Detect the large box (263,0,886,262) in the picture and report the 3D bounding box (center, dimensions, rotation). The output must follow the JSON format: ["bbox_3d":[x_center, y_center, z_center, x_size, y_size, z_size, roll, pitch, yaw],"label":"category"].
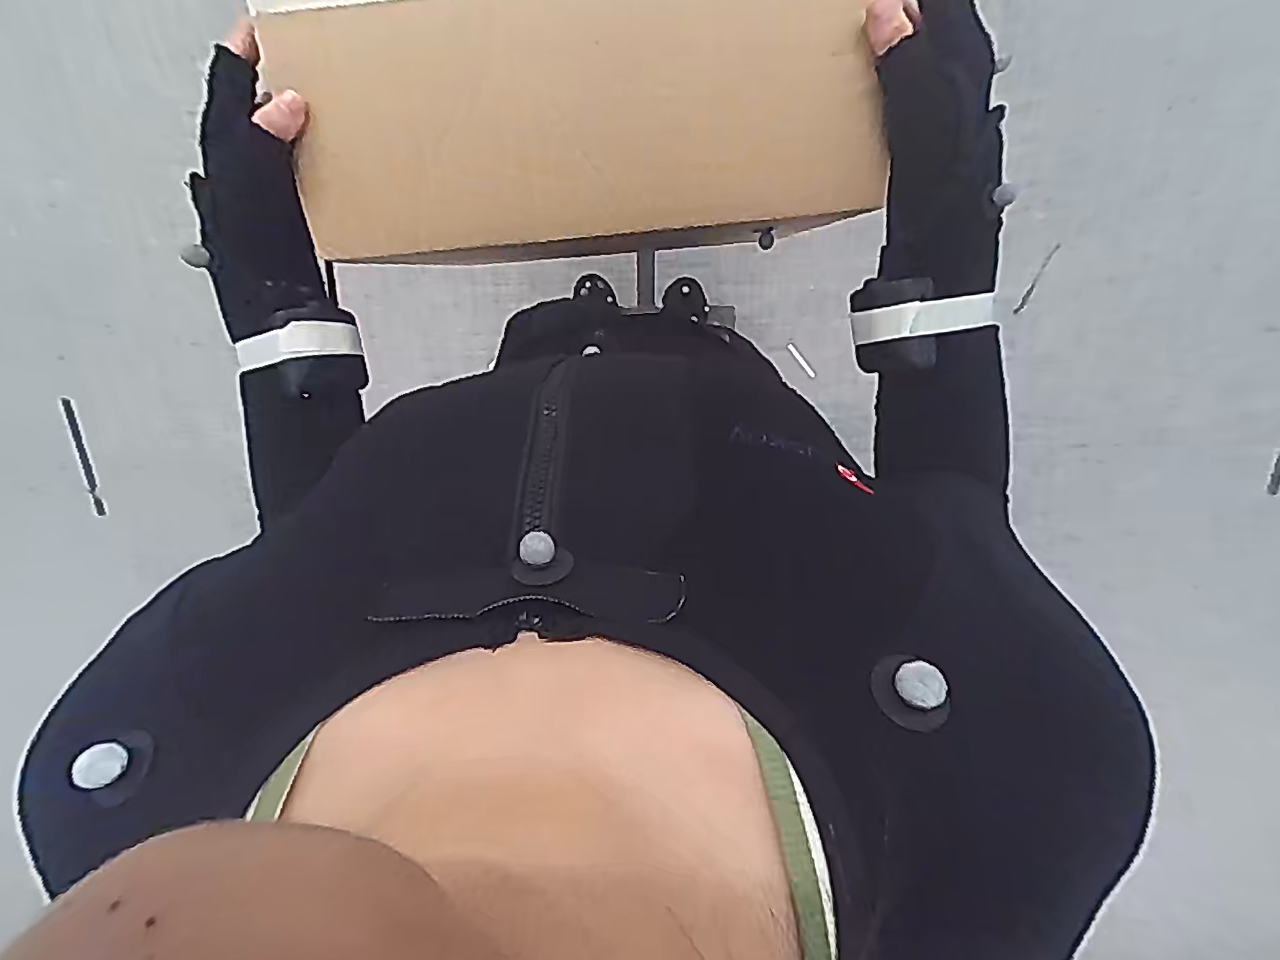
[{"bbox_3d":[-0.041,-0.376,0.476,0.408,0.320,0.320,-4,111,3],"label":"large box"}]

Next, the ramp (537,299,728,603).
[{"bbox_3d":[-0.002,-0.019,1.606,0.509,0.206,0.991,-2,109,2],"label":"ramp"}]
